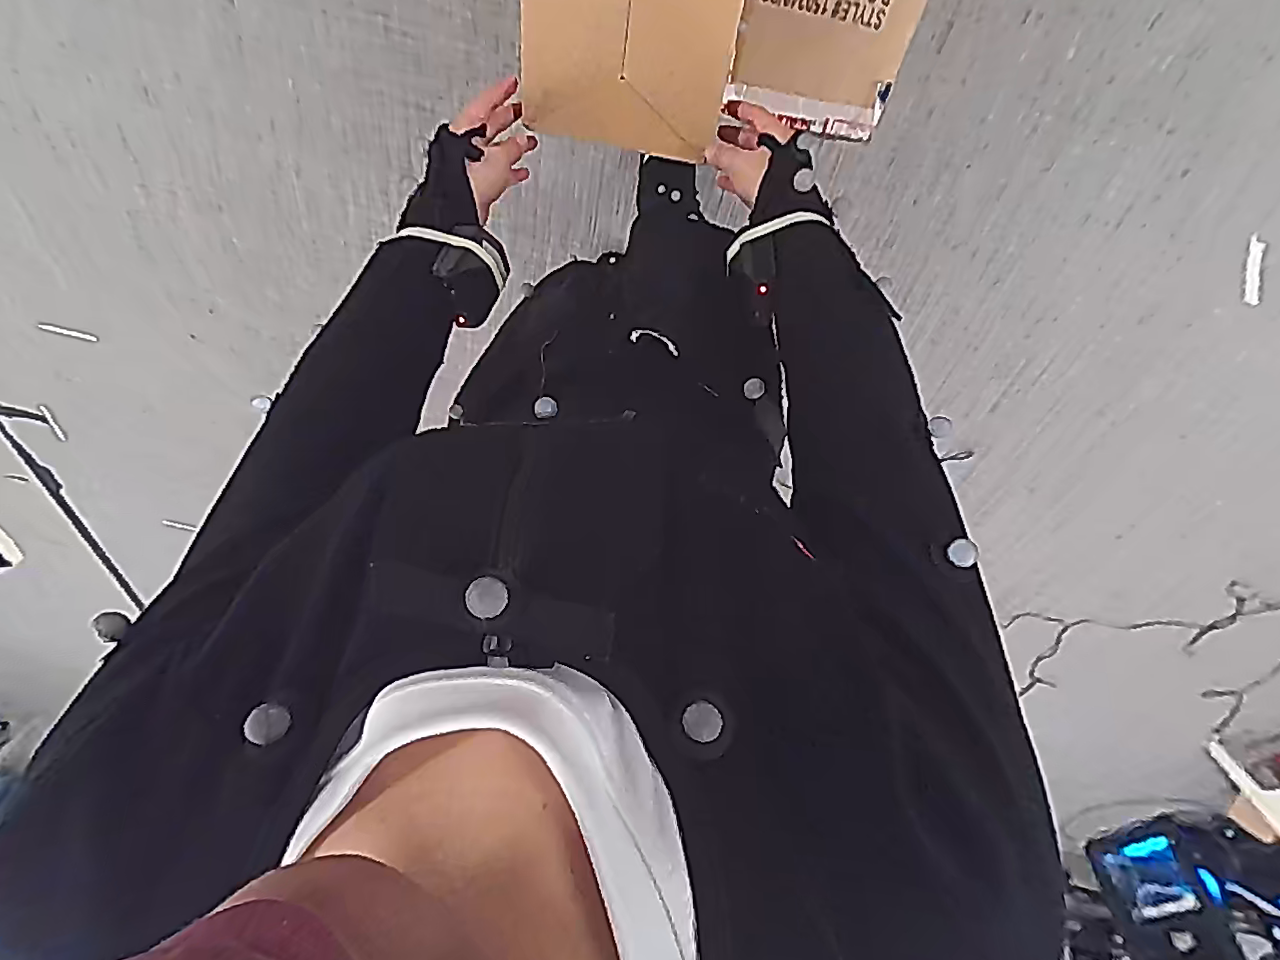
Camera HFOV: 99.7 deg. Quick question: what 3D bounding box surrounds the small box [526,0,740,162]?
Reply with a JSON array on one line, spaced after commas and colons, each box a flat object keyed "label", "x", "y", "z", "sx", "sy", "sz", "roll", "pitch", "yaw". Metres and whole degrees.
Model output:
[{"label": "small box", "x": -0.005, "y": -0.420, "z": 0.501, "sx": 0.179, "sy": 0.176, "sz": 0.168, "roll": 11, "pitch": 135, "yaw": -2}]
